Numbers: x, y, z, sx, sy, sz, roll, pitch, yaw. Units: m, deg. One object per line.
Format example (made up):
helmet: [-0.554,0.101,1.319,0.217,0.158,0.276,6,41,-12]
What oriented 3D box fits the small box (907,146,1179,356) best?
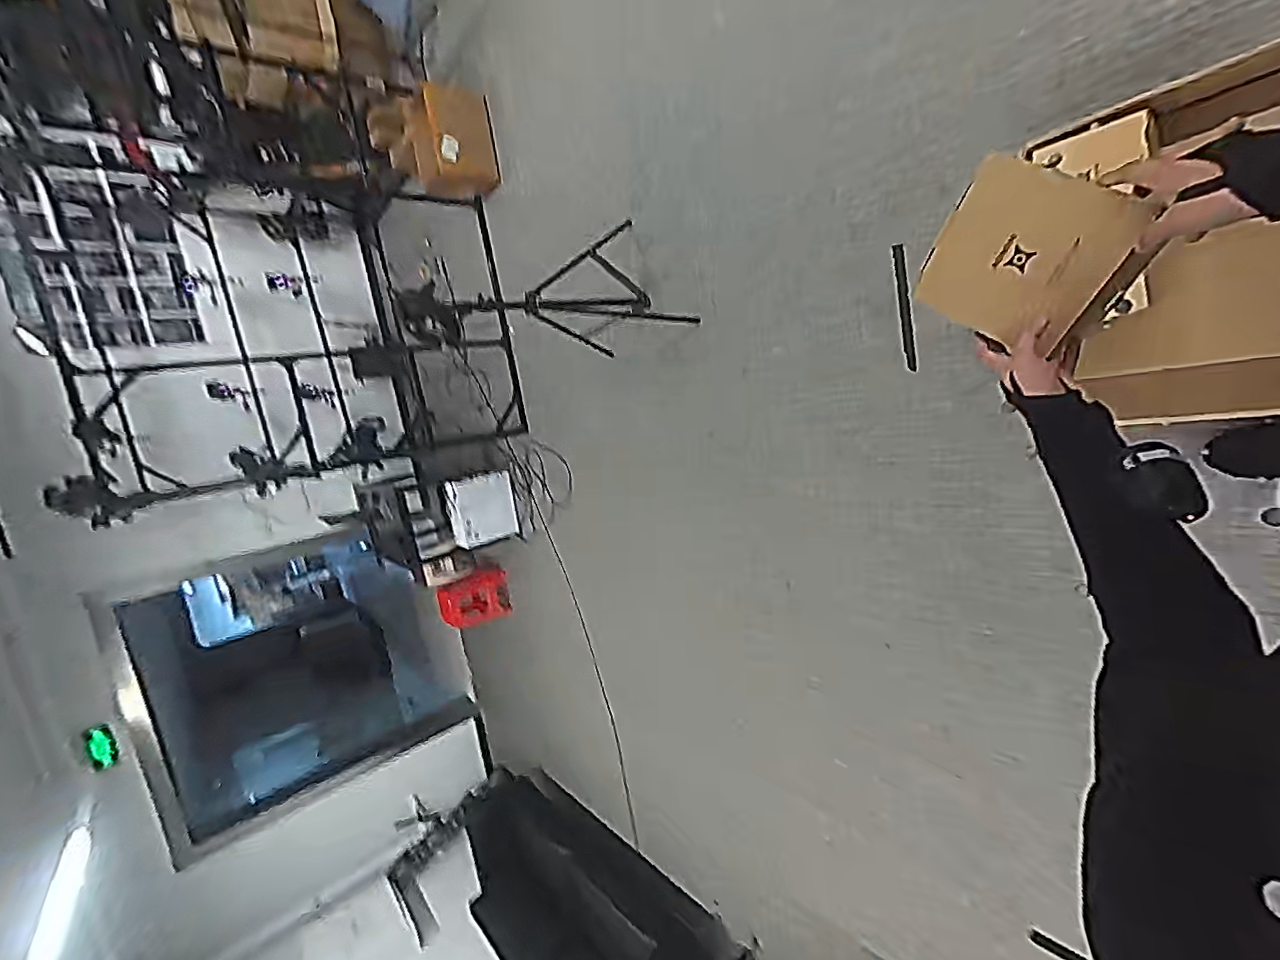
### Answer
small box: [0.465,-0.264,0.633,0.179,0.176,0.168,44,135,30]

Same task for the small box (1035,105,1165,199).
small box: [0.939,-0.619,1.103,0.179,0.176,0.168,-1,104,49]
